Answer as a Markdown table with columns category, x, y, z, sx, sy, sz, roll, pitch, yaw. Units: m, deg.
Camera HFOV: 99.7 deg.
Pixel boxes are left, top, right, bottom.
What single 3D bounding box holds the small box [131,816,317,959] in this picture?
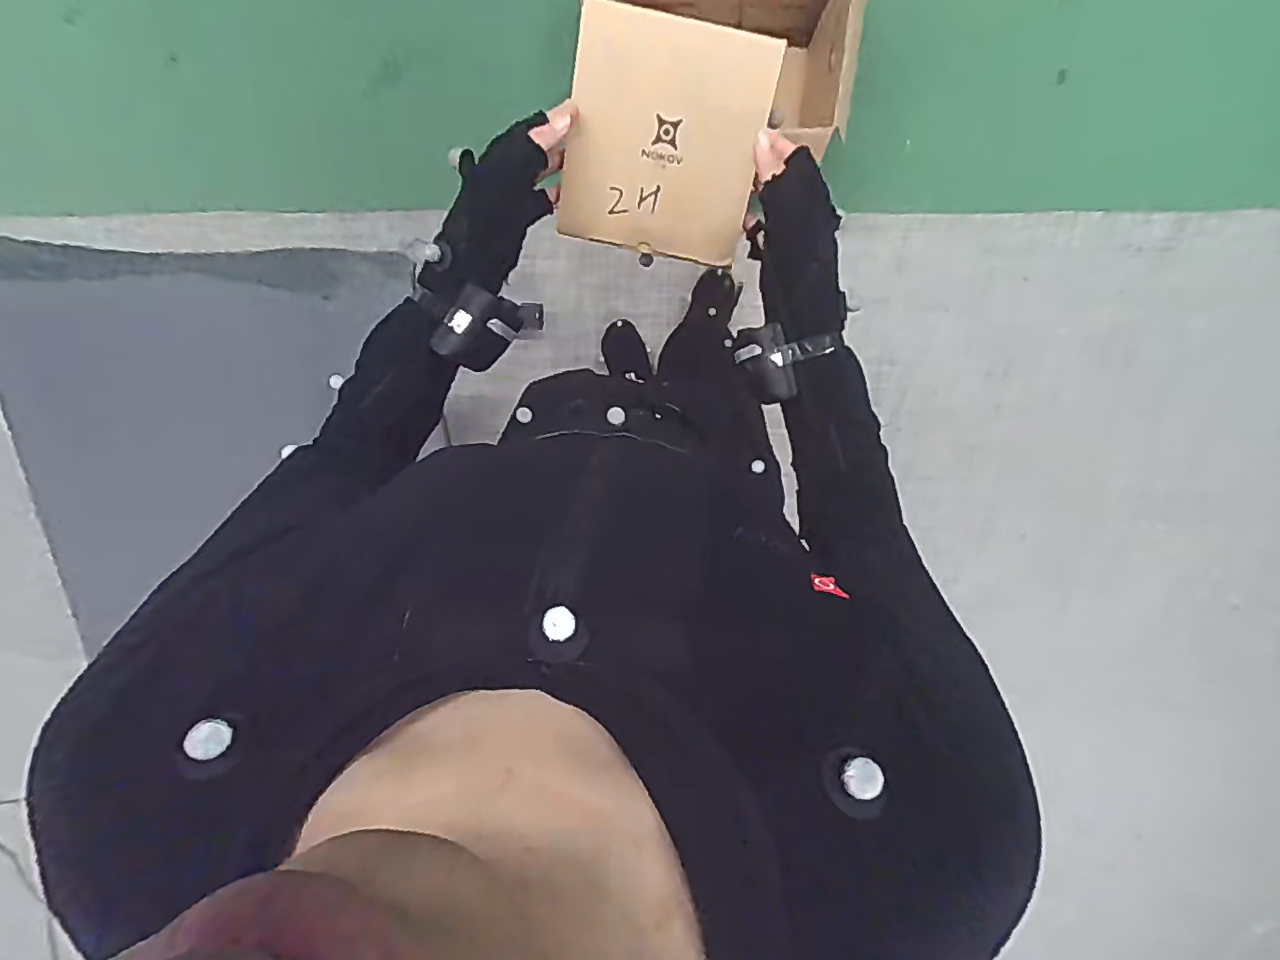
| category | x | y | z | sx | sy | sz | roll | pitch | yaw |
| --- | --- | --- | --- | --- | --- | --- | --- | --- | --- |
| small box | -0.673 | 0.690 | 0.905 | 0.179 | 0.176 | 0.168 | 1 | 108 | 3 |

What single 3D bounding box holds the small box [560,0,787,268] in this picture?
| category | x | y | z | sx | sy | sz | roll | pitch | yaw |
| --- | --- | --- | --- | --- | --- | --- | --- | --- | --- |
| small box | 0.027 | -0.320 | 0.535 | 0.168 | 0.176 | 0.179 | 12 | 113 | -1 |
